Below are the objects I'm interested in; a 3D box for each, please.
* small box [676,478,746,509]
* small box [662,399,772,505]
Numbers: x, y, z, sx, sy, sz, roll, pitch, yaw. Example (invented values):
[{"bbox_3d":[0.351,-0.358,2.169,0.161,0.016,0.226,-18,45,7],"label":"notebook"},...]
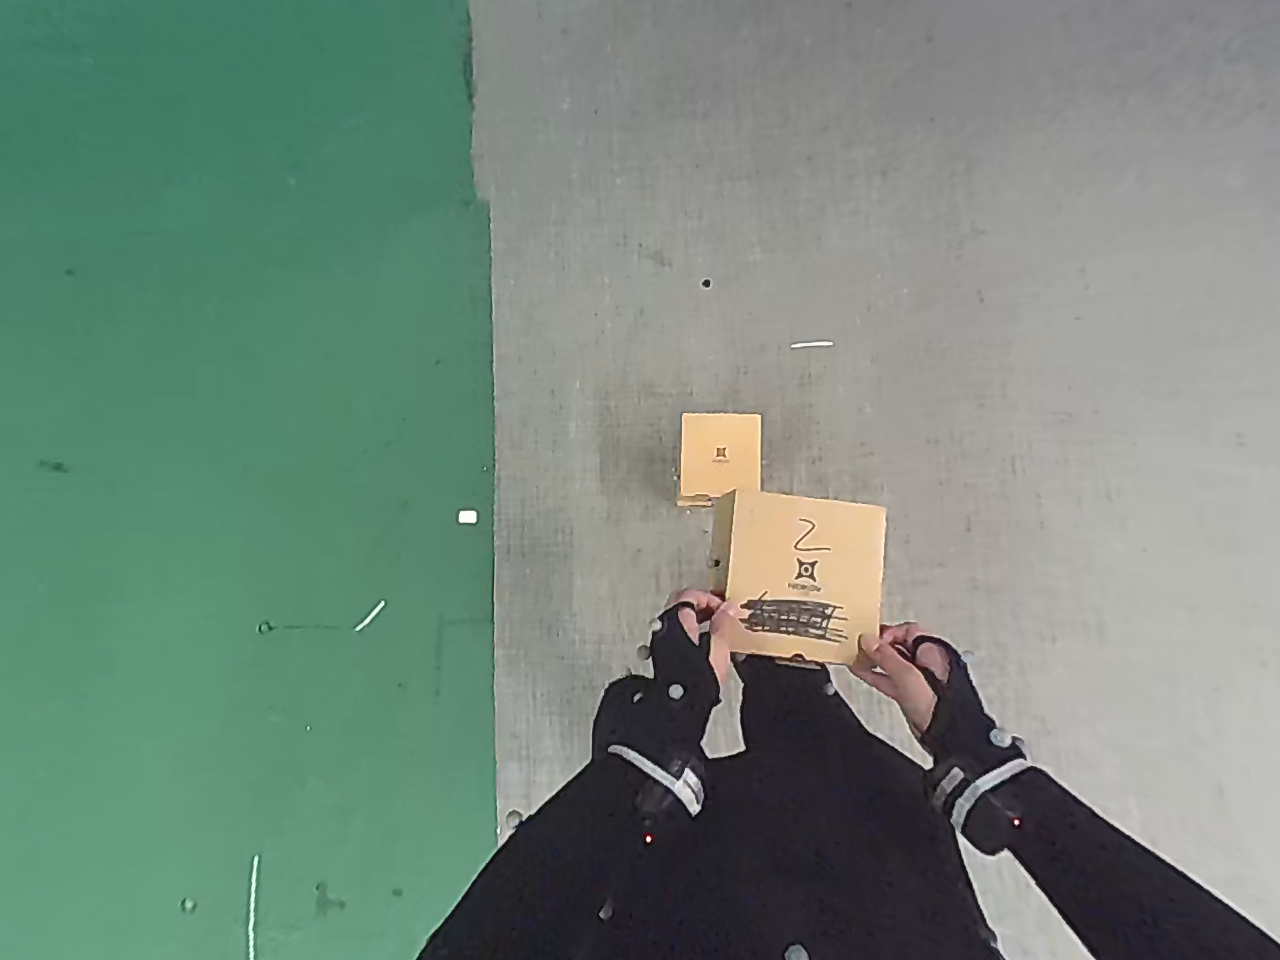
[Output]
[{"bbox_3d":[0.177,-0.019,1.357,0.168,0.176,0.179,2,84,3],"label":"small box"},{"bbox_3d":[0.166,-0.052,1.206,0.179,0.176,0.168,33,89,7],"label":"small box"}]
